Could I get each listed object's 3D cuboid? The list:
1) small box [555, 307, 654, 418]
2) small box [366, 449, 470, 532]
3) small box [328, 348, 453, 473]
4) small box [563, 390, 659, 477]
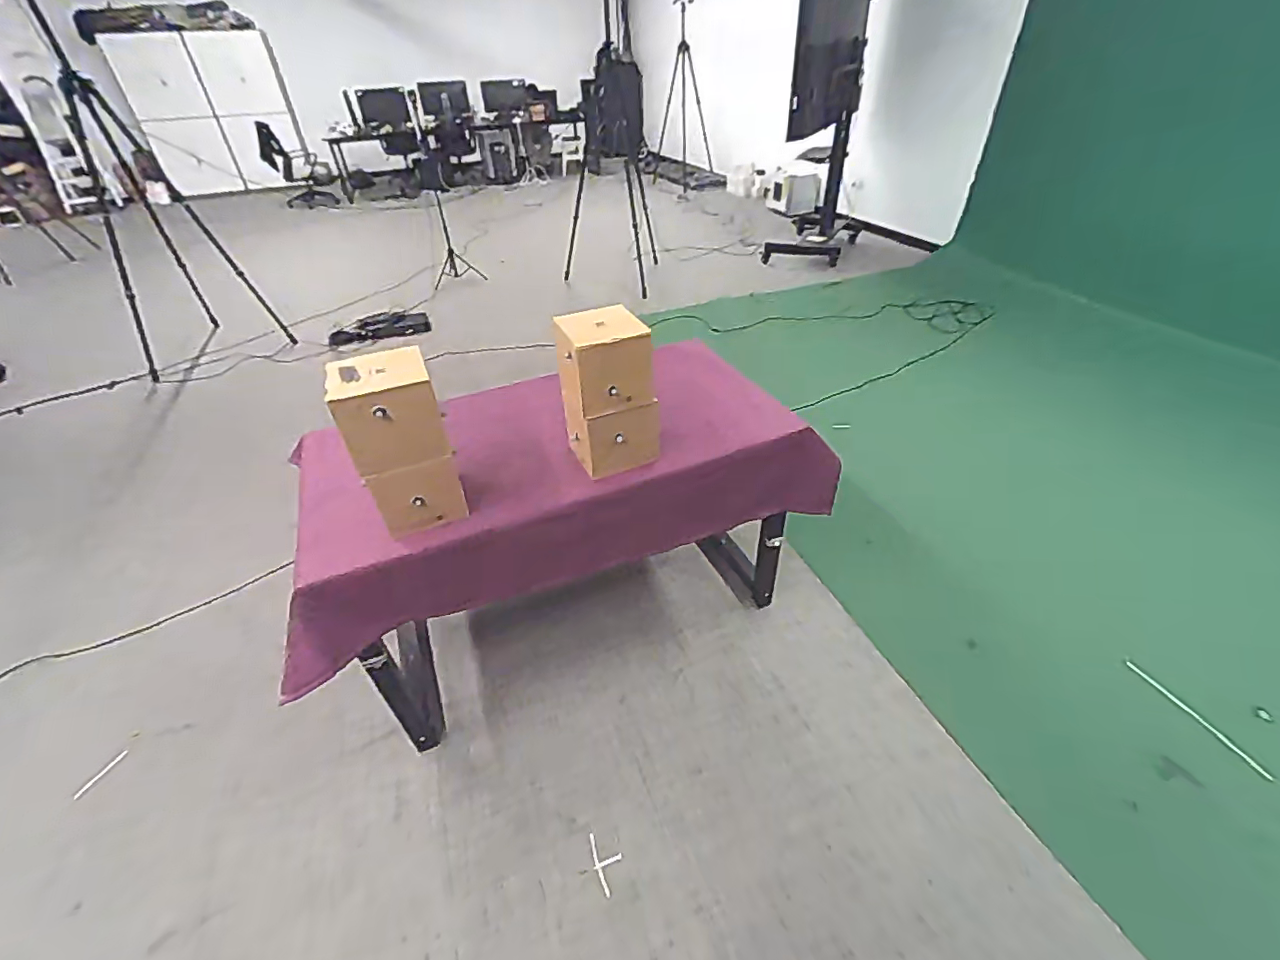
[{"bbox_3d":[-0.078,-0.260,1.190,0.168,0.176,0.179,-17,41,-17],"label":"small box"},{"bbox_3d":[-0.477,-0.007,1.163,0.168,0.176,0.179,-17,40,-17],"label":"small box"},{"bbox_3d":[-0.485,-0.135,1.059,0.179,0.176,0.168,-17,41,-18],"label":"small box"},{"bbox_3d":[-0.065,-0.129,1.288,0.179,0.176,0.168,-19,41,-17],"label":"small box"}]
